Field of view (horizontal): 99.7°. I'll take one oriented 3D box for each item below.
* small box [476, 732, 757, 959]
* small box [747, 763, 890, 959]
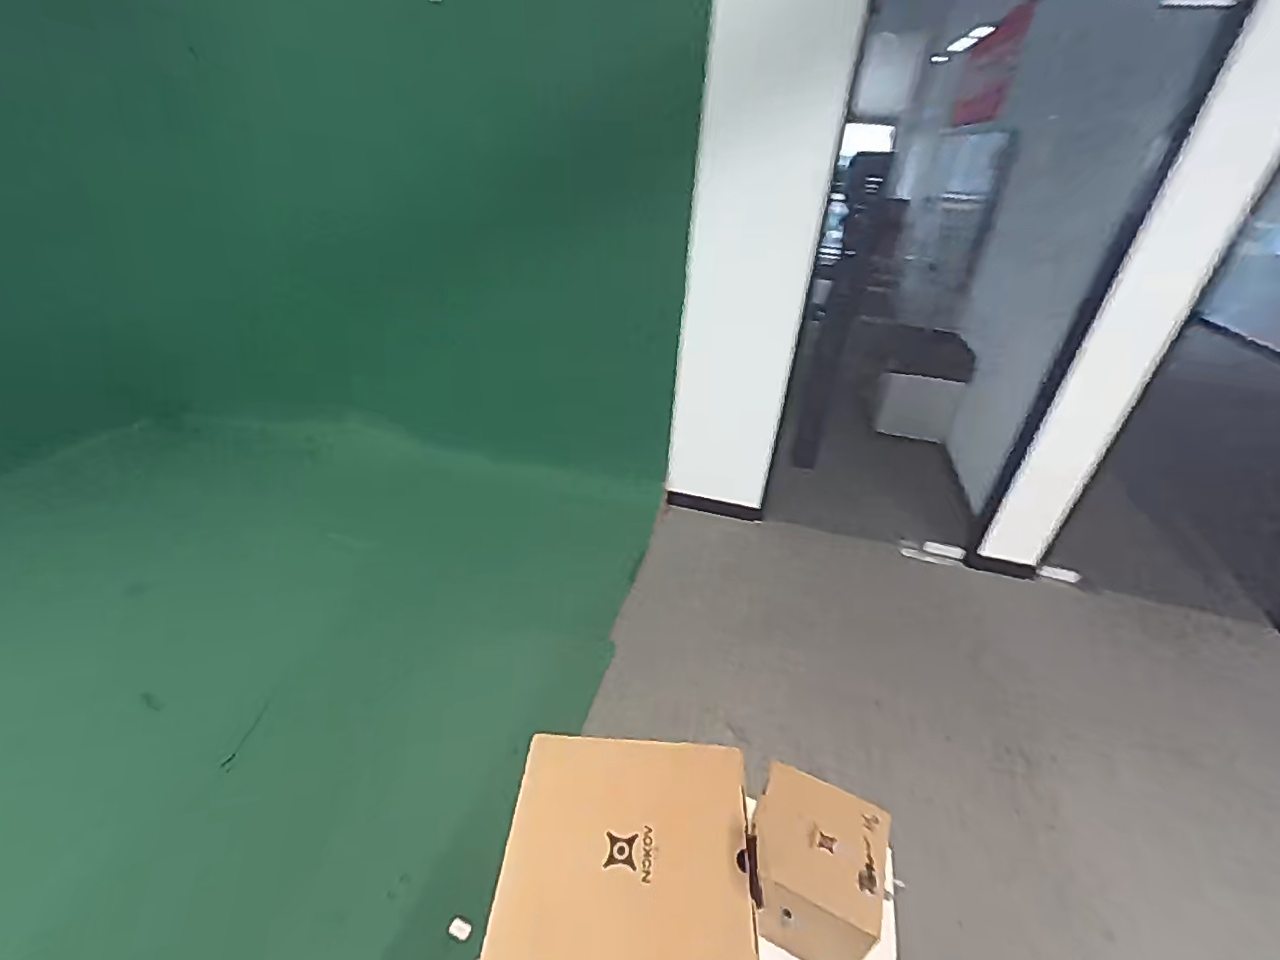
[{"bbox_3d":[-0.010,0.327,0.429,0.179,0.176,0.168,2,34,2],"label":"small box"},{"bbox_3d":[0.241,0.562,0.783,0.179,0.176,0.168,17,35,20],"label":"small box"}]
